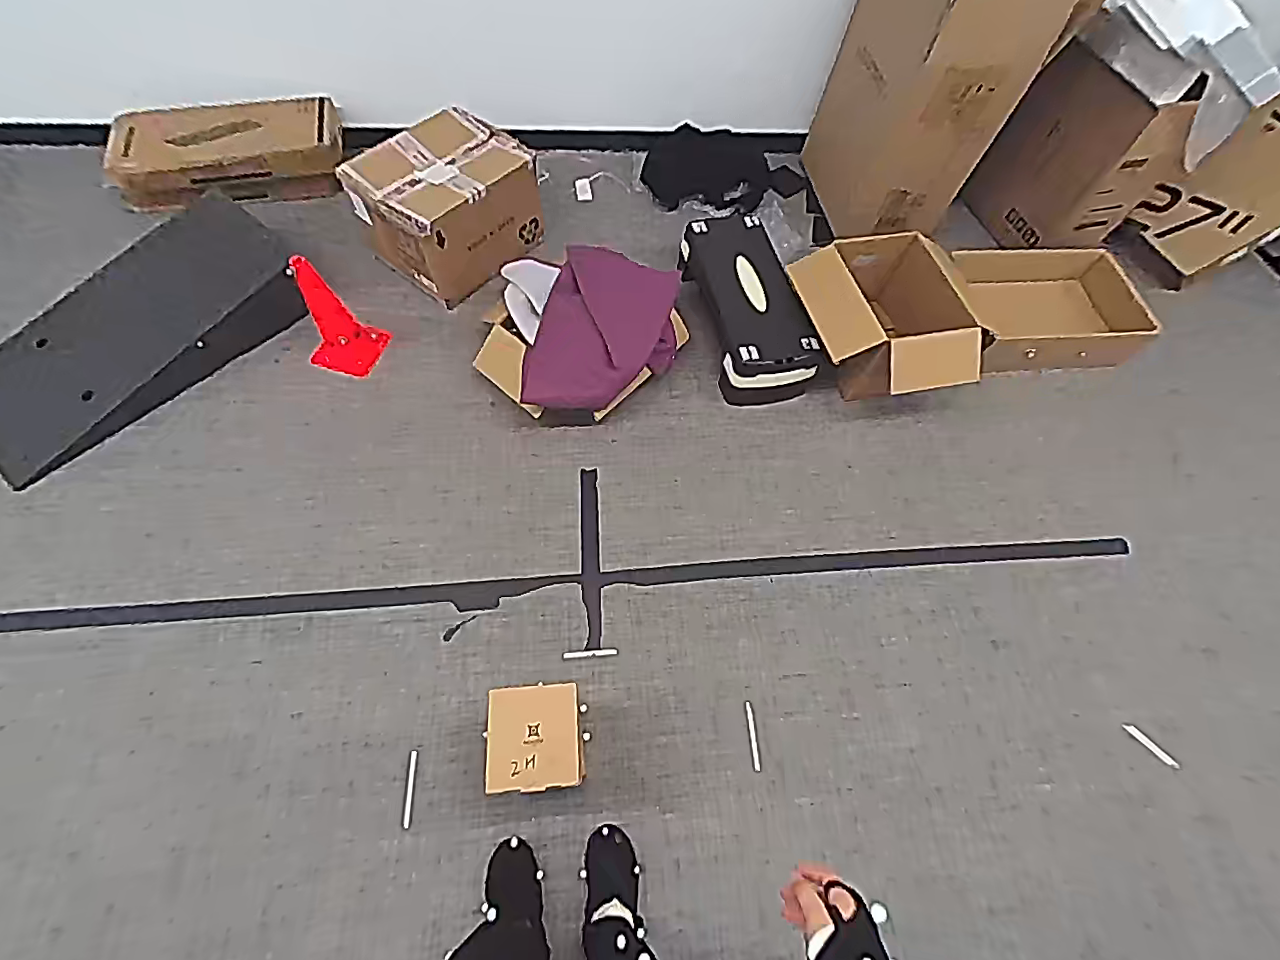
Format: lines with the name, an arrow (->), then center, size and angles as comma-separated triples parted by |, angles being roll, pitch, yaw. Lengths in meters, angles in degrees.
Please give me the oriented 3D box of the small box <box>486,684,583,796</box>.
small box -> -0.198, 0.505, 1.051 | 0.168, 0.176, 0.179 | -2, 63, -5
